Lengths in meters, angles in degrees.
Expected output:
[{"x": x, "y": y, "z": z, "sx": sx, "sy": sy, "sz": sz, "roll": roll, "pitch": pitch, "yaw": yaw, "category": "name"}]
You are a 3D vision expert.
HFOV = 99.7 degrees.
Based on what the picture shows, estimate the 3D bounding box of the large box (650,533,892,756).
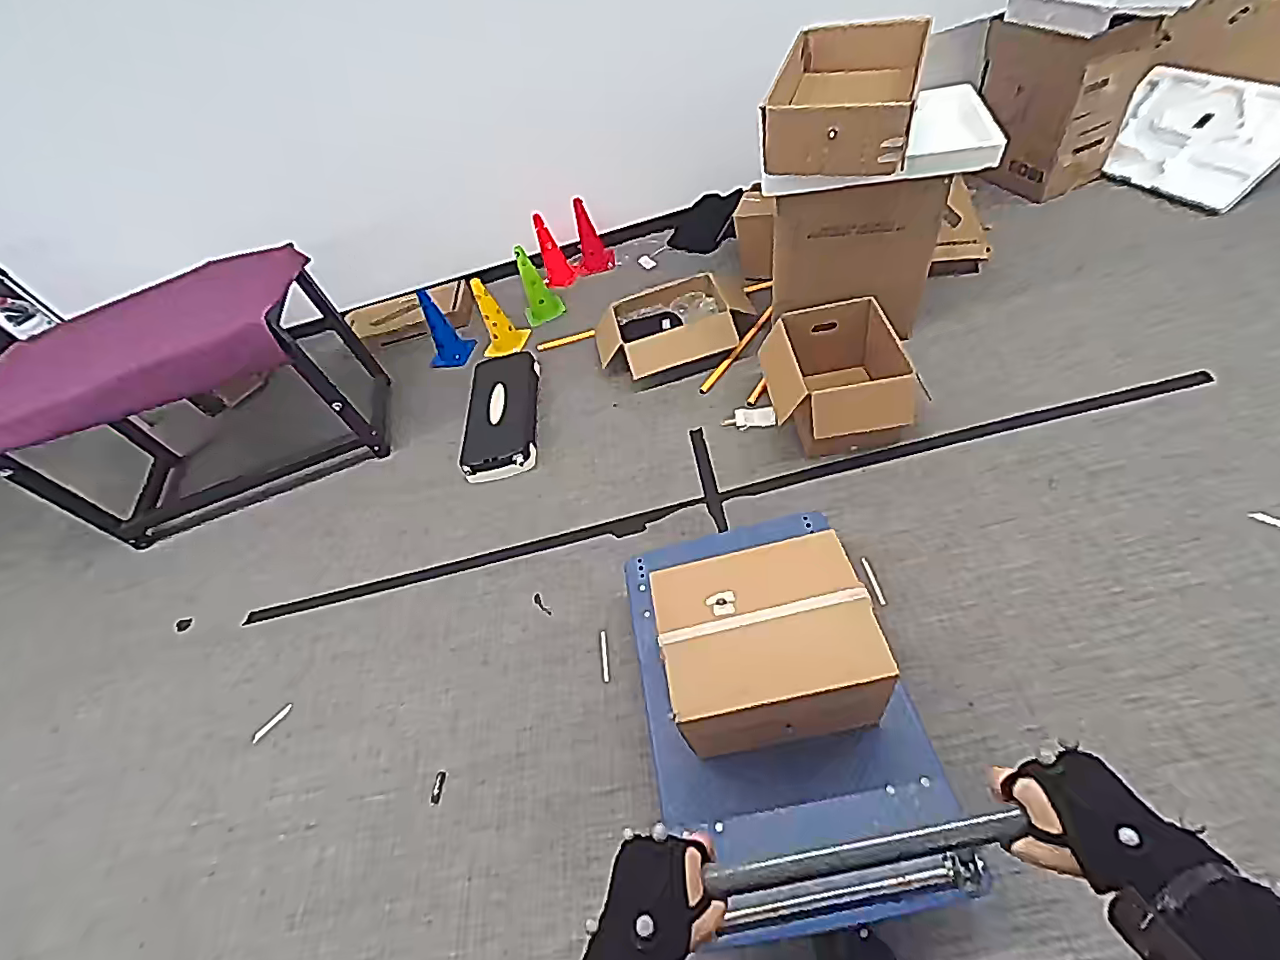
[{"x": 0.269, "y": 0.366, "z": 1.176, "sx": 0.408, "sy": 0.320, "sz": 0.320, "roll": -15, "pitch": 49, "yaw": 5, "category": "large box"}]
